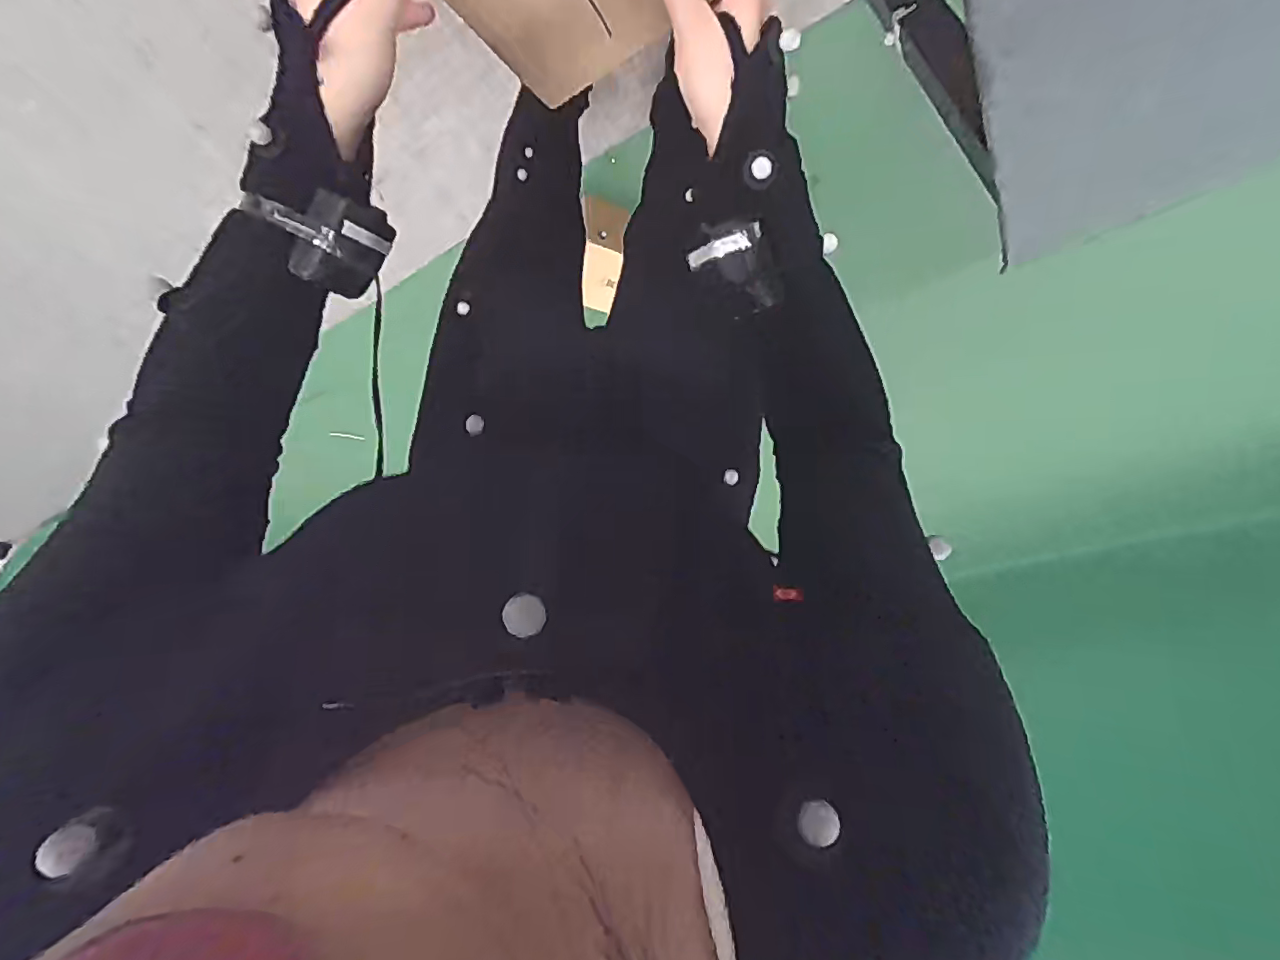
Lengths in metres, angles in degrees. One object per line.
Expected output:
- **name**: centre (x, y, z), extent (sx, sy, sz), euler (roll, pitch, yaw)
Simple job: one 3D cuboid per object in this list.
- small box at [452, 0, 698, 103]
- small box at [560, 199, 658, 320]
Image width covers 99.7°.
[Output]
- **small box**: centre (-0.057, -0.420, 0.358), extent (0.168, 0.176, 0.179), euler (-9, 163, 34)
- **small box**: centre (-0.073, -0.507, 1.244), extent (0.179, 0.176, 0.168), euler (12, 146, -21)
